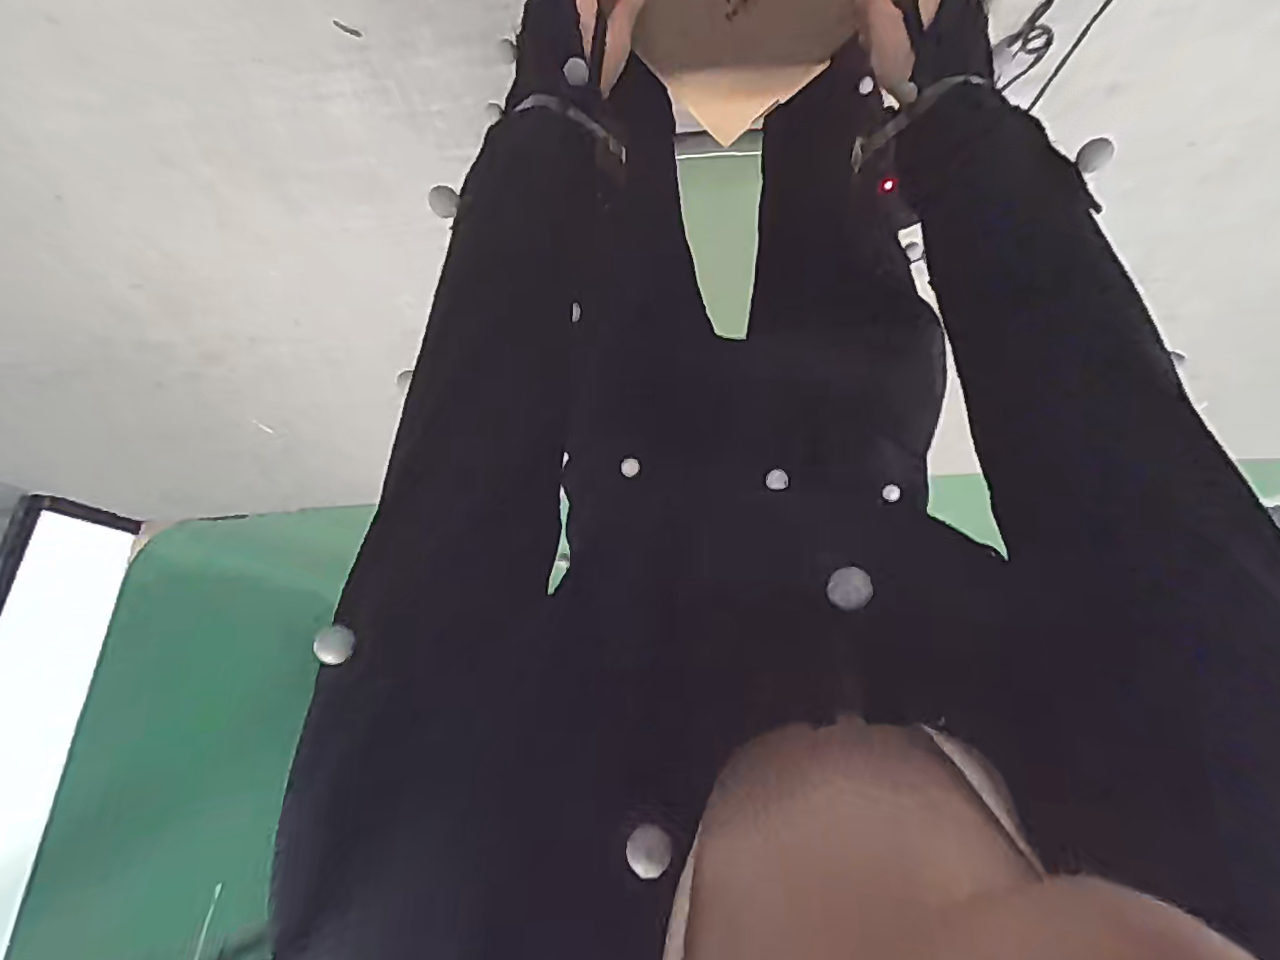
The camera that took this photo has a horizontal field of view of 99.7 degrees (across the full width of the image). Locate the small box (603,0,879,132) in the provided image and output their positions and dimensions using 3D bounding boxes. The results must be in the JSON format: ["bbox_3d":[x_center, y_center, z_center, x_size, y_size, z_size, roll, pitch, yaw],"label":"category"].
[{"bbox_3d":[0.076,-0.441,0.426,0.179,0.176,0.168,24,148,-36],"label":"small box"}]
